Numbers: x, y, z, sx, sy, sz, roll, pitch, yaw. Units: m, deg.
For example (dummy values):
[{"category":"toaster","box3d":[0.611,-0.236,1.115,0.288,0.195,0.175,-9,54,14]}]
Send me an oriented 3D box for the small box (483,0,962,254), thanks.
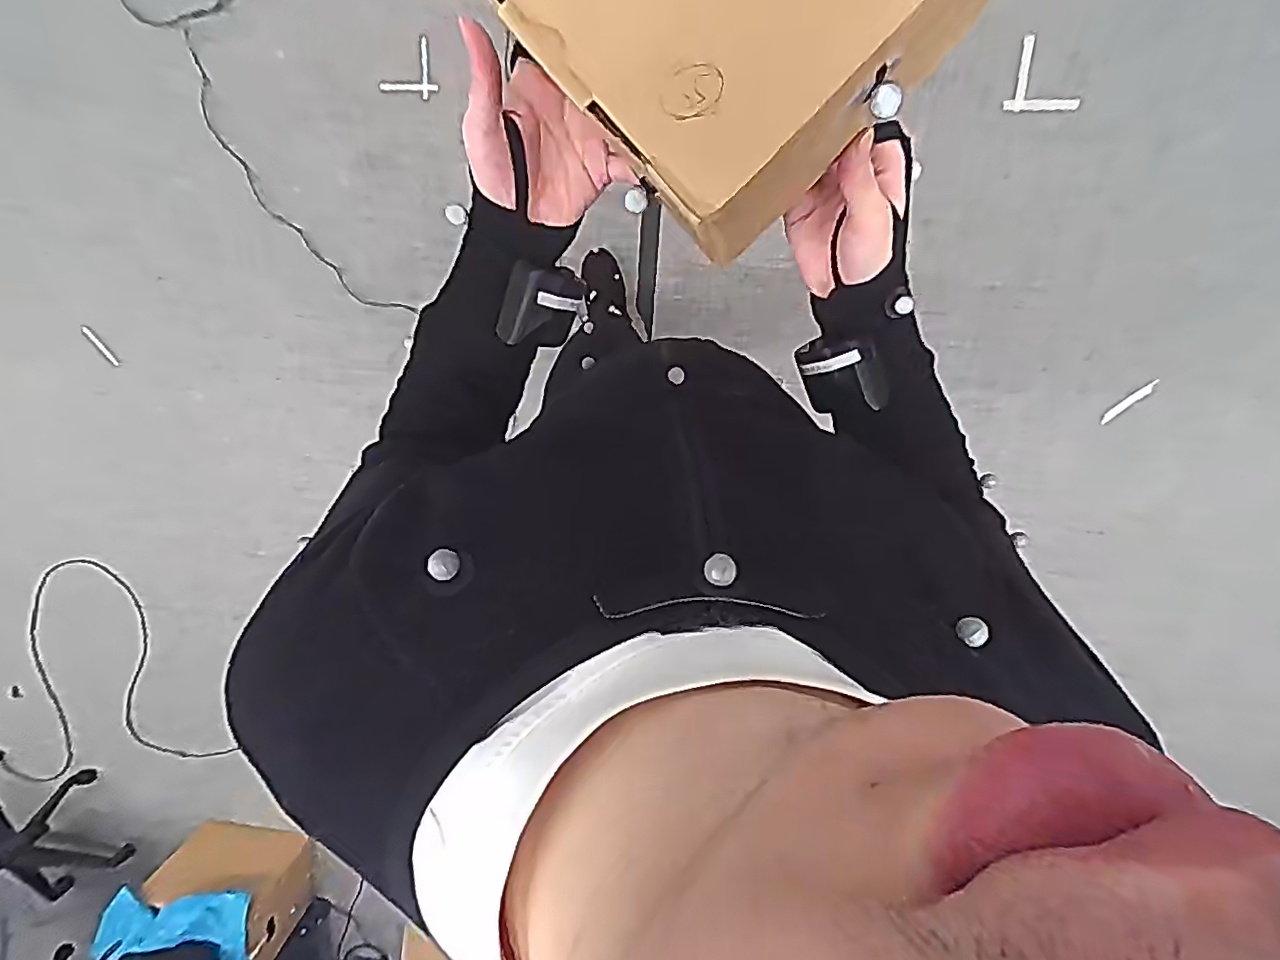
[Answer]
[{"category":"small box","box3d":[0.041,-0.232,0.249,0.179,0.176,0.168,-42,95,18]}]
